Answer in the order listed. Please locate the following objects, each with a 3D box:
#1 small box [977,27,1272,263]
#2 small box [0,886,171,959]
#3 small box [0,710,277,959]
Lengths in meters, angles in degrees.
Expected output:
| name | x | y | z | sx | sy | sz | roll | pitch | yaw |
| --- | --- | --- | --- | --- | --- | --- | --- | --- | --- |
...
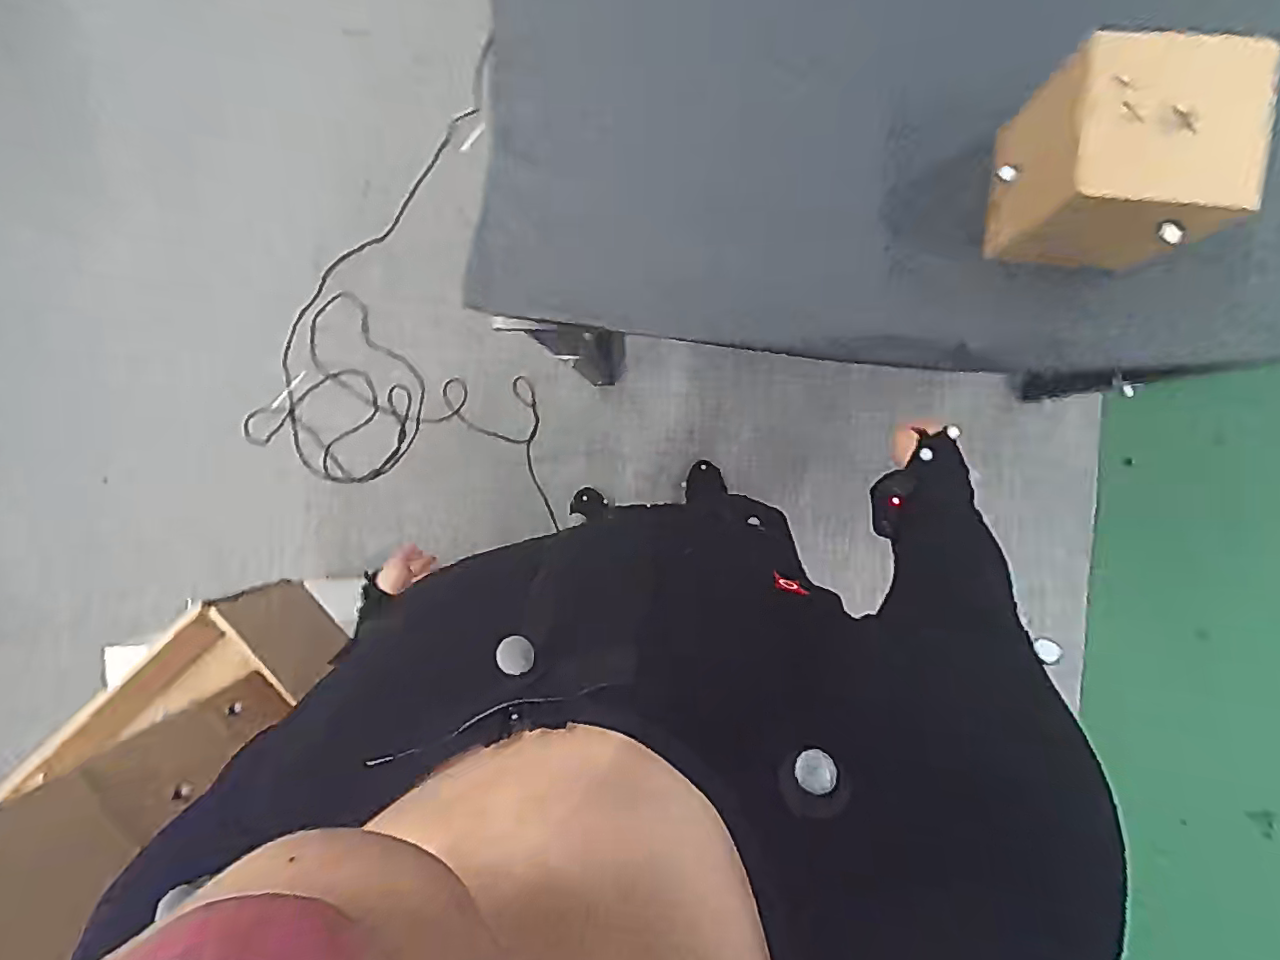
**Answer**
| name | x | y | z | sx | sy | sz | roll | pitch | yaw |
| --- | --- | --- | --- | --- | --- | --- | --- | --- | --- |
| small box | 0.527 | -0.362 | 0.615 | 0.179 | 0.176 | 0.168 | 6 | 91 | 5 |
| small box | -0.777 | 0.625 | 0.696 | 0.179 | 0.176 | 0.168 | 23 | 95 | 1 |
| small box | -0.614 | 0.418 | 0.671 | 0.168 | 0.176 | 0.179 | -40 | 91 | 7 |
